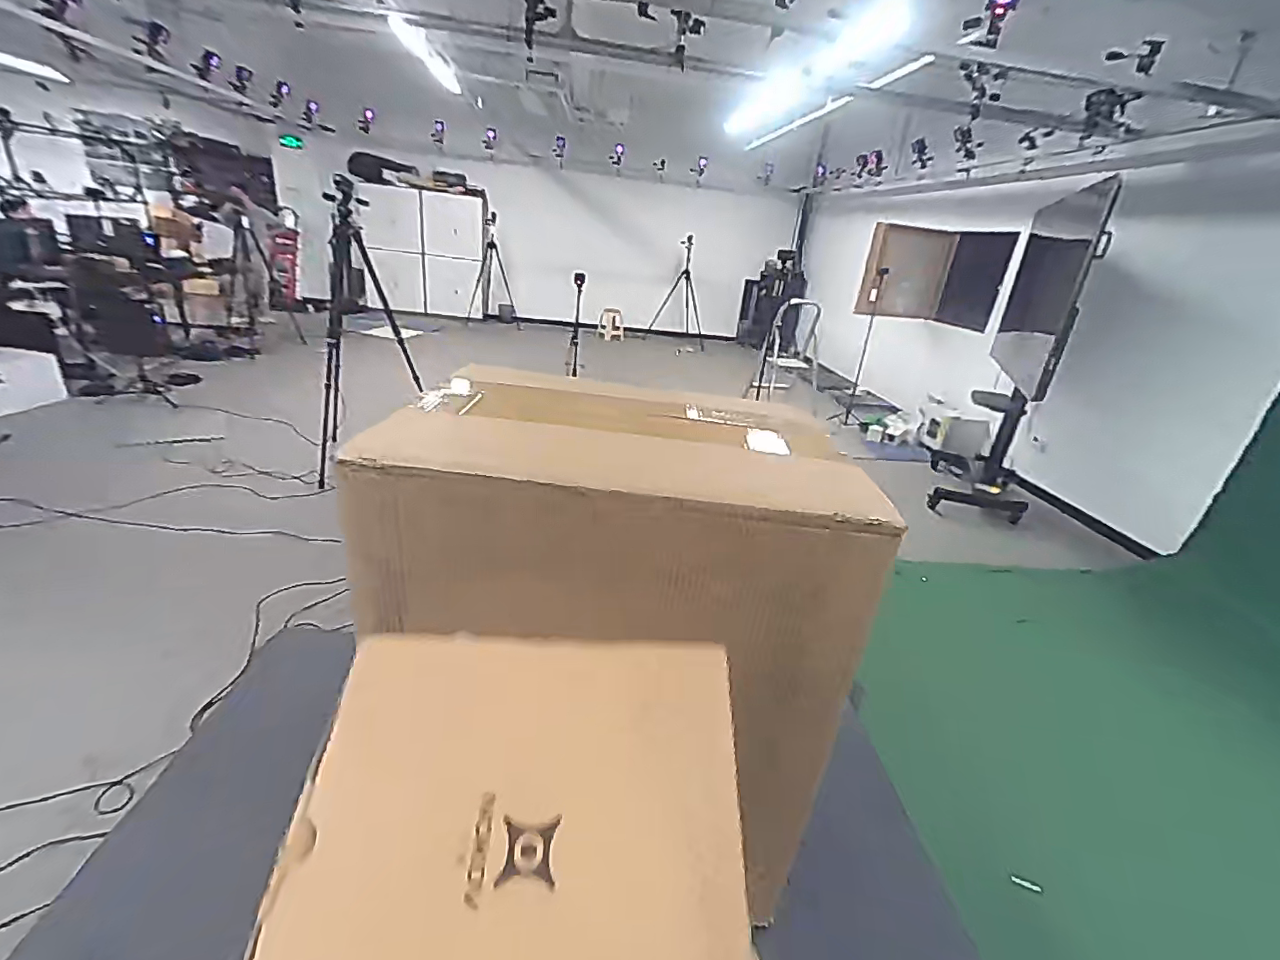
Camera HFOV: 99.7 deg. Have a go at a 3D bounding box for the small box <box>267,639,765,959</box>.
[{"bbox_3d":[-0.045,0.192,0.272,0.179,0.176,0.168,1,52,0],"label":"small box"}]
